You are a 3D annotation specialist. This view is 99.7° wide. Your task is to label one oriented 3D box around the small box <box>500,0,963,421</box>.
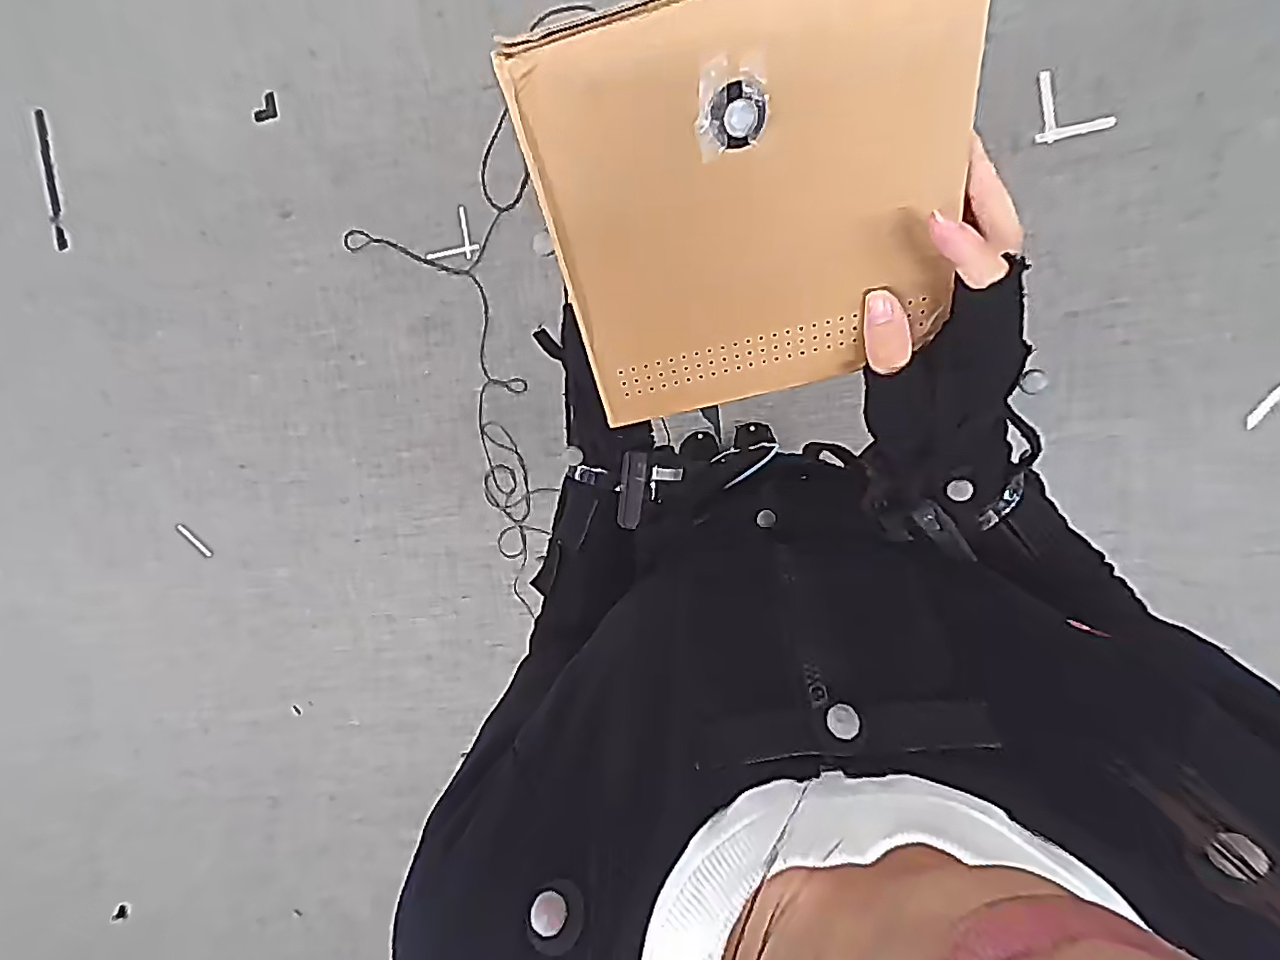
[{"bbox_3d":[0.048,-0.152,0.298,0.179,0.168,0.176,-12,128,6],"label":"small box"}]
